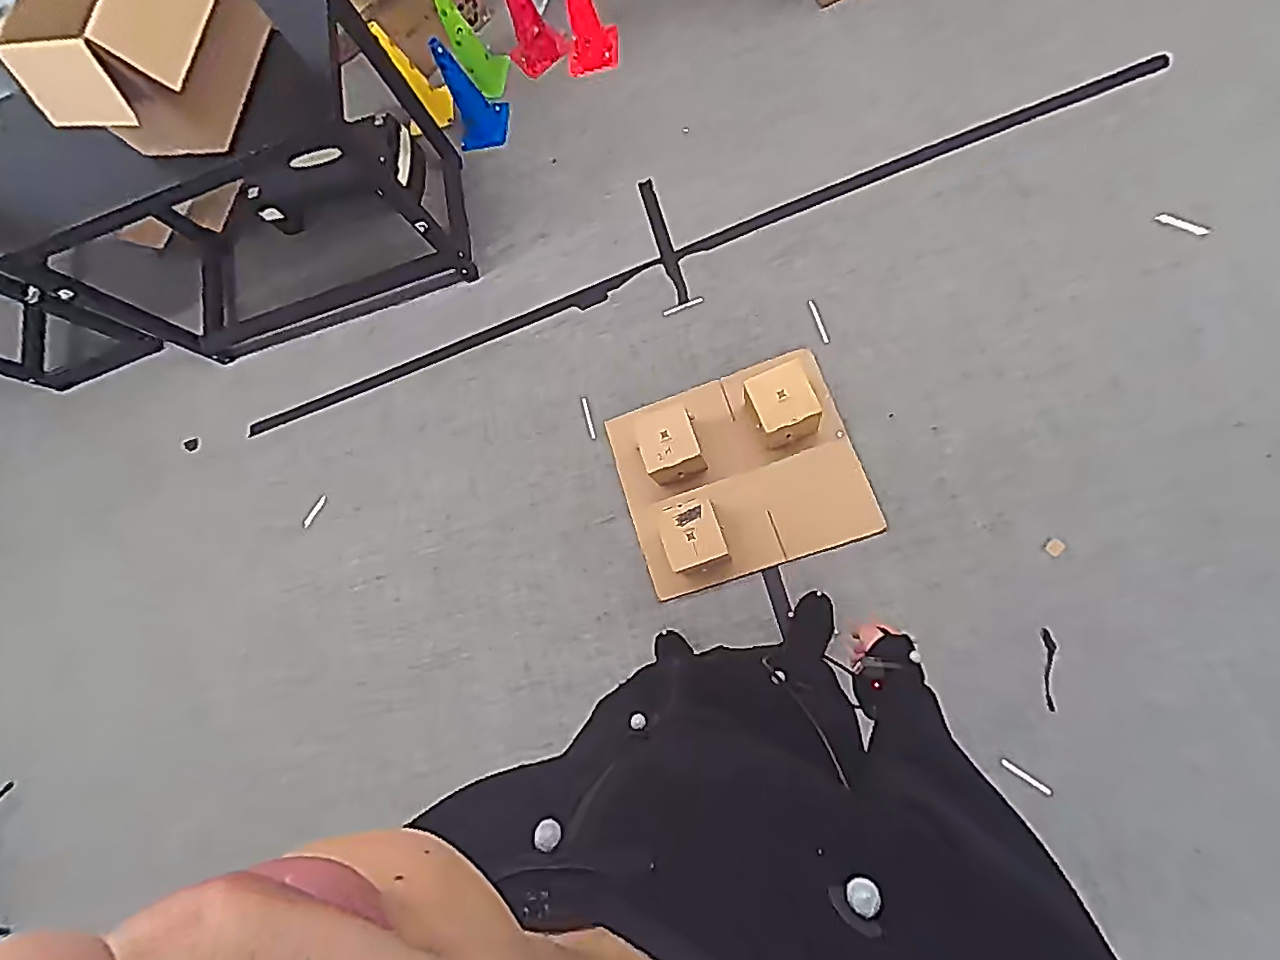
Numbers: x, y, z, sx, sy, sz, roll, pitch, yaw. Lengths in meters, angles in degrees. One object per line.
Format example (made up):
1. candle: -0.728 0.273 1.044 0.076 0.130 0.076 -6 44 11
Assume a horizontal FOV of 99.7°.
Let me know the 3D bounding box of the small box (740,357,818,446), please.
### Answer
1. small box: 0.403 -0.224 1.588 0.168 0.176 0.179 -23 74 7

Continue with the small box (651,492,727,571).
1. small box: 0.145 0.155 1.562 0.168 0.176 0.179 -21 75 9

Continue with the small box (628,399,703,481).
1. small box: 0.080 -0.114 1.632 0.168 0.176 0.179 -20 75 9
